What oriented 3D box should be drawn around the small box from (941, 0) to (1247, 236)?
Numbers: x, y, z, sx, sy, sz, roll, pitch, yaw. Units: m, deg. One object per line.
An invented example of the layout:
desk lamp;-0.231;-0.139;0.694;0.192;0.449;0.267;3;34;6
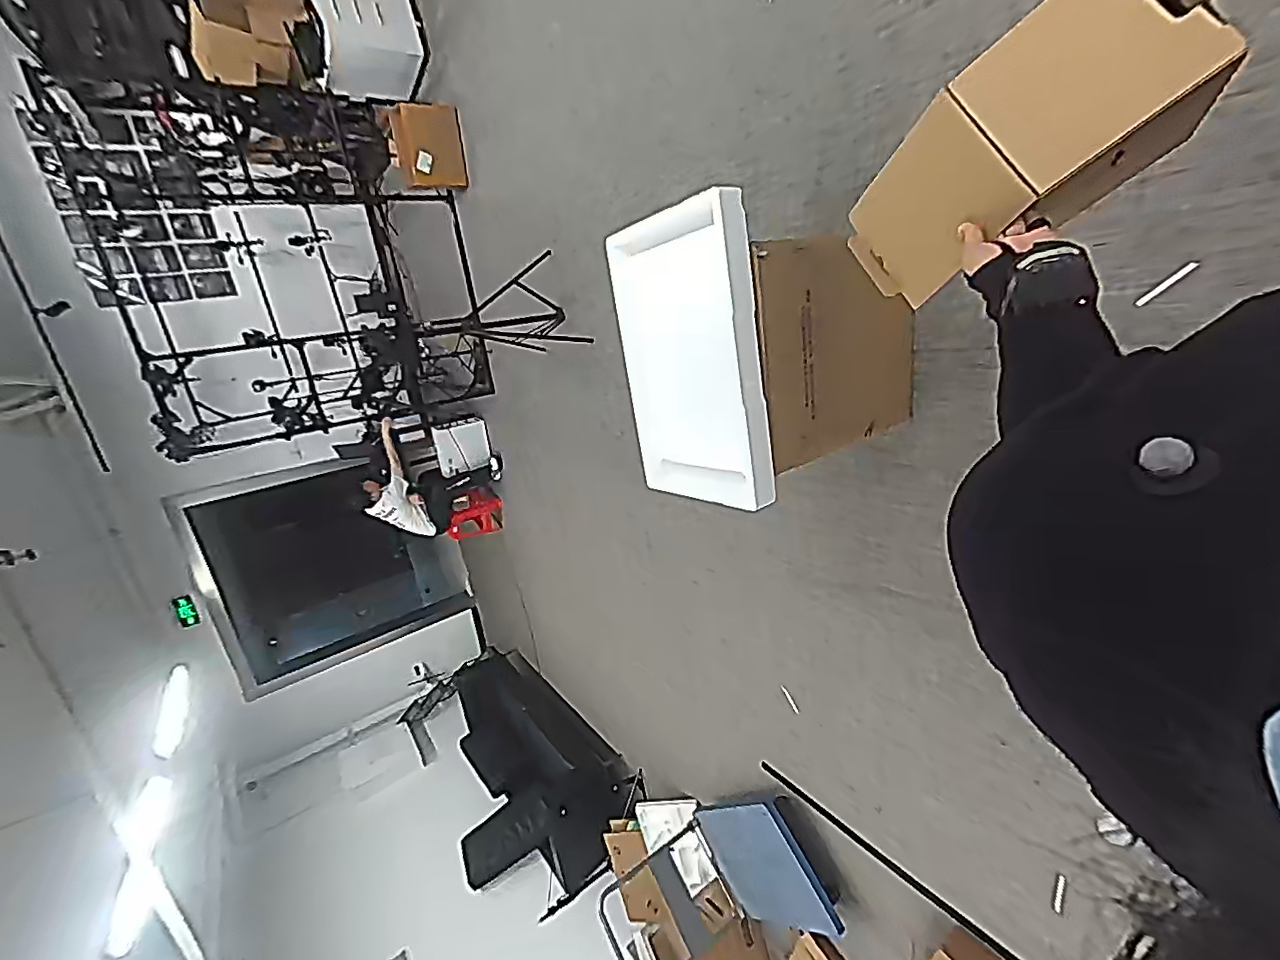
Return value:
small box;0.461;-0.401;0.582;0.179;0.176;0.168;-36;75;29
